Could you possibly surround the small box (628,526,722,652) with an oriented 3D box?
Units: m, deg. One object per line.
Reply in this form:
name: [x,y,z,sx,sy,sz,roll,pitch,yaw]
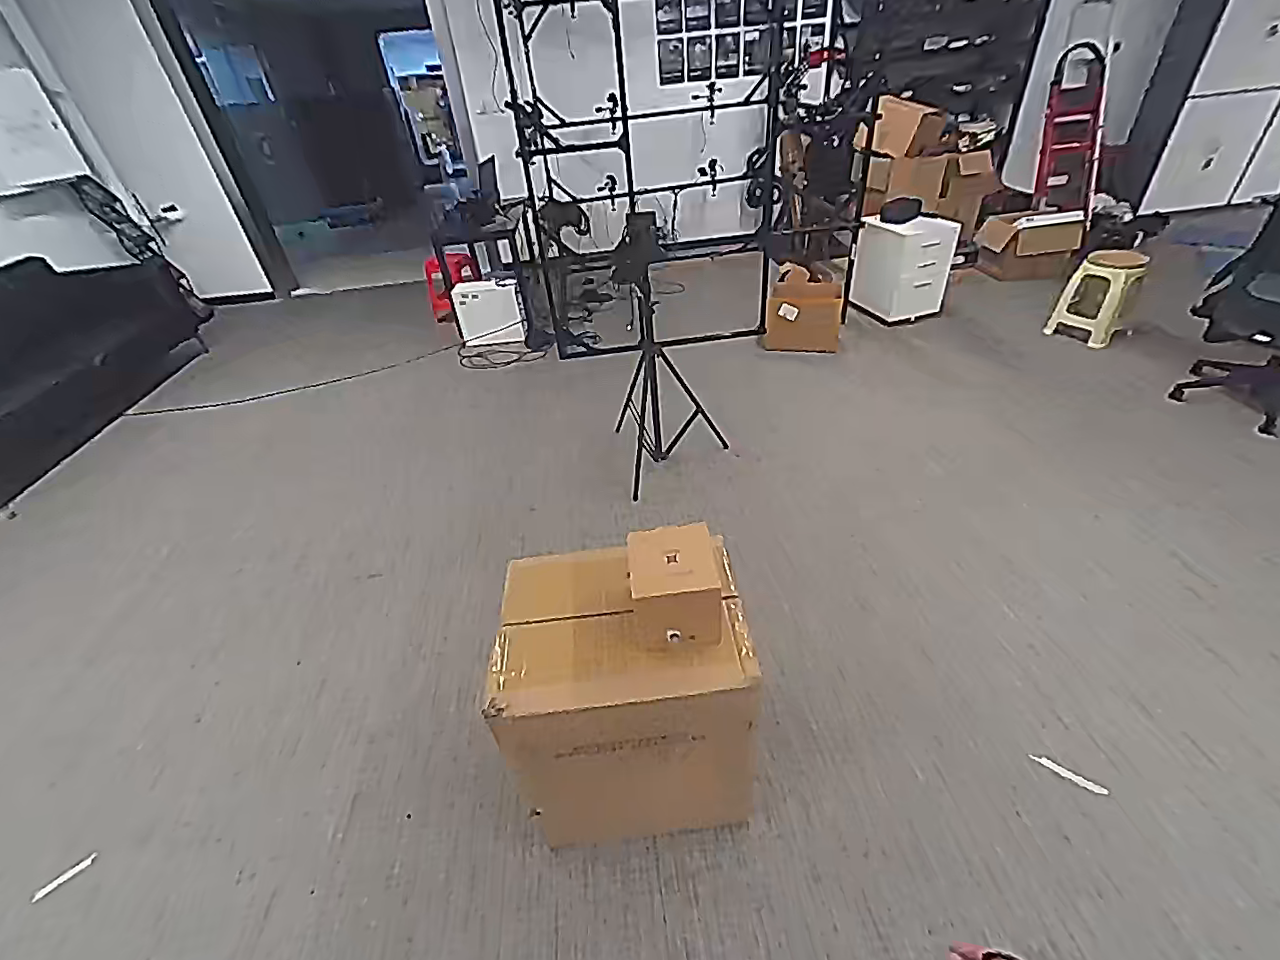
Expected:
small box: [0.069,0.219,1.088,0.168,0.176,0.179,-8,39,0]
